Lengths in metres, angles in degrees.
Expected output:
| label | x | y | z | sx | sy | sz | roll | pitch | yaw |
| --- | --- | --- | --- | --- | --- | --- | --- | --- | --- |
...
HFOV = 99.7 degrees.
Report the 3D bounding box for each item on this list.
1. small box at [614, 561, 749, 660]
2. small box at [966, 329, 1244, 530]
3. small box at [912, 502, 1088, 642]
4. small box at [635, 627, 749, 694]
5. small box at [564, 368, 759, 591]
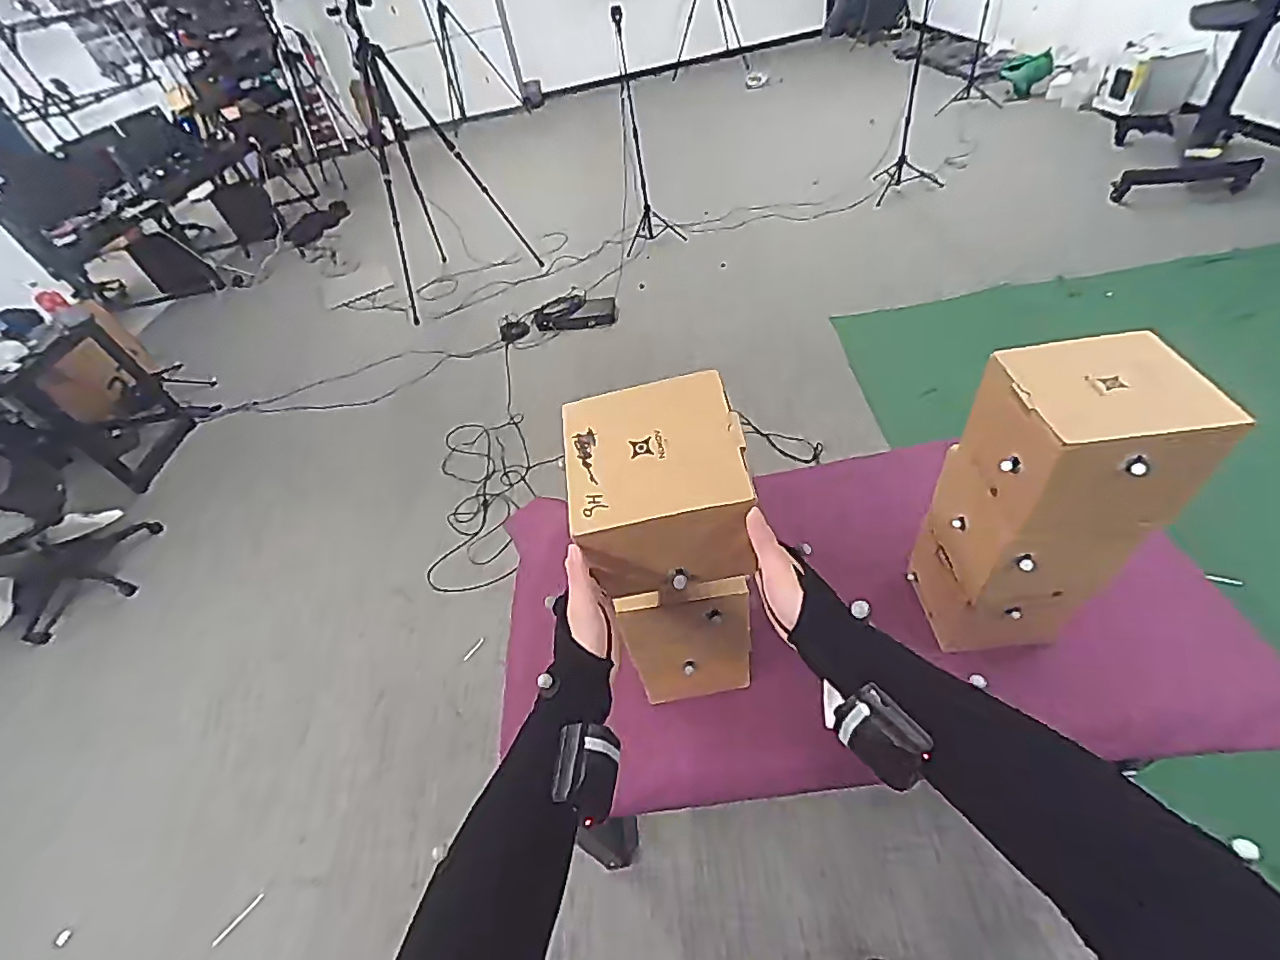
| label | x | y | z | sx | sy | sz | roll | pitch | yaw |
| --- | --- | --- | --- | --- | --- | --- | --- | --- | --- |
| small box | 0.059 | 0.145 | 0.797 | 0.179 | 0.176 | 0.168 | -10 | 46 | 4 |
| small box | 0.520 | -0.054 | 0.647 | 0.179 | 0.176 | 0.168 | -6 | 47 | 7 |
| small box | 0.572 | 0.153 | 0.895 | 0.179 | 0.176 | 0.168 | -8 | 46 | 6 |
| small box | 0.083 | 0.245 | 0.926 | 0.179 | 0.176 | 0.168 | -11 | 46 | 3 |
| small box | 0.024 | 0.007 | 0.595 | 0.179 | 0.176 | 0.168 | -11 | 56 | 4 |
